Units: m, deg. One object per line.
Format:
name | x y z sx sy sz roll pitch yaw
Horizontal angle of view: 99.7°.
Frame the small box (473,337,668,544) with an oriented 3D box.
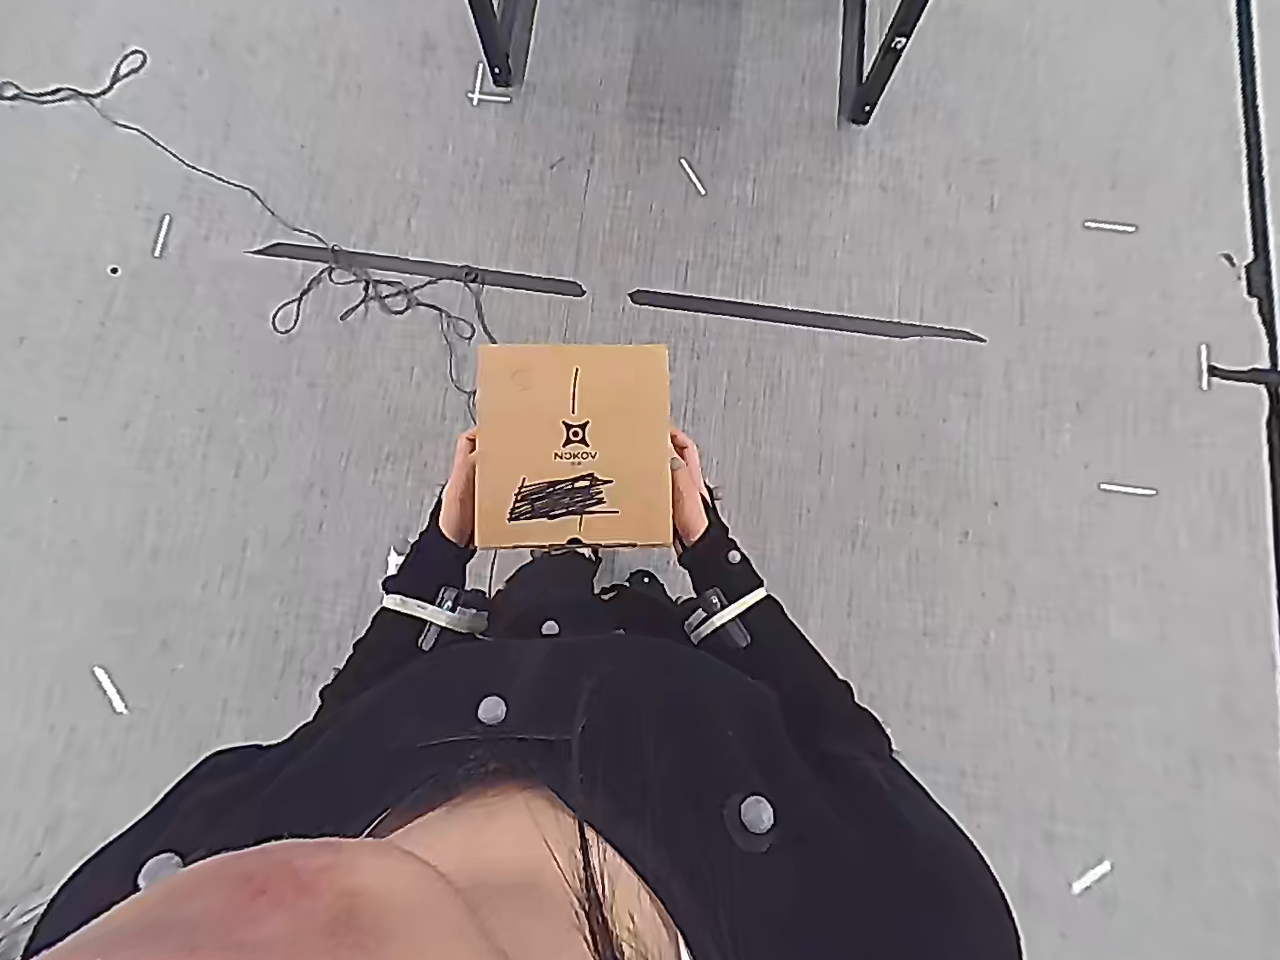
small box | -0.061 -0.028 0.534 0.168 0.176 0.179 -1 84 -4
